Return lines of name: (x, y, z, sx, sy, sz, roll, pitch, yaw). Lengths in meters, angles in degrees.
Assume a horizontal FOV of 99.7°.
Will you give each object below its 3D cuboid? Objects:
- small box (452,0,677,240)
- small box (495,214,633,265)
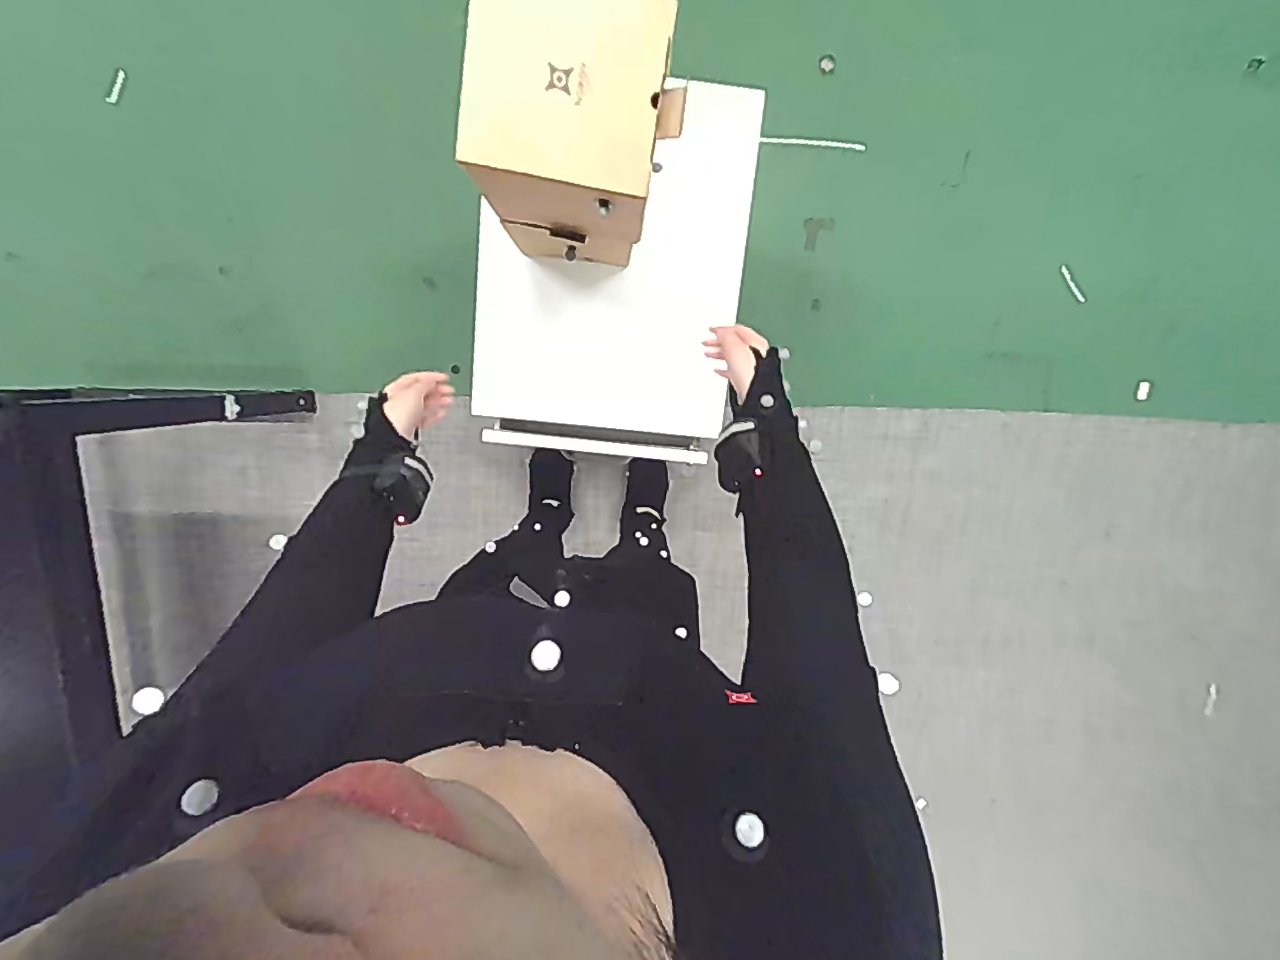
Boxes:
small box: (-0.071, -0.356, 0.542, 0.179, 0.176, 0.168, 8, 100, -5)
small box: (-0.083, -0.389, 0.701, 0.168, 0.176, 0.179, 6, 101, -5)
